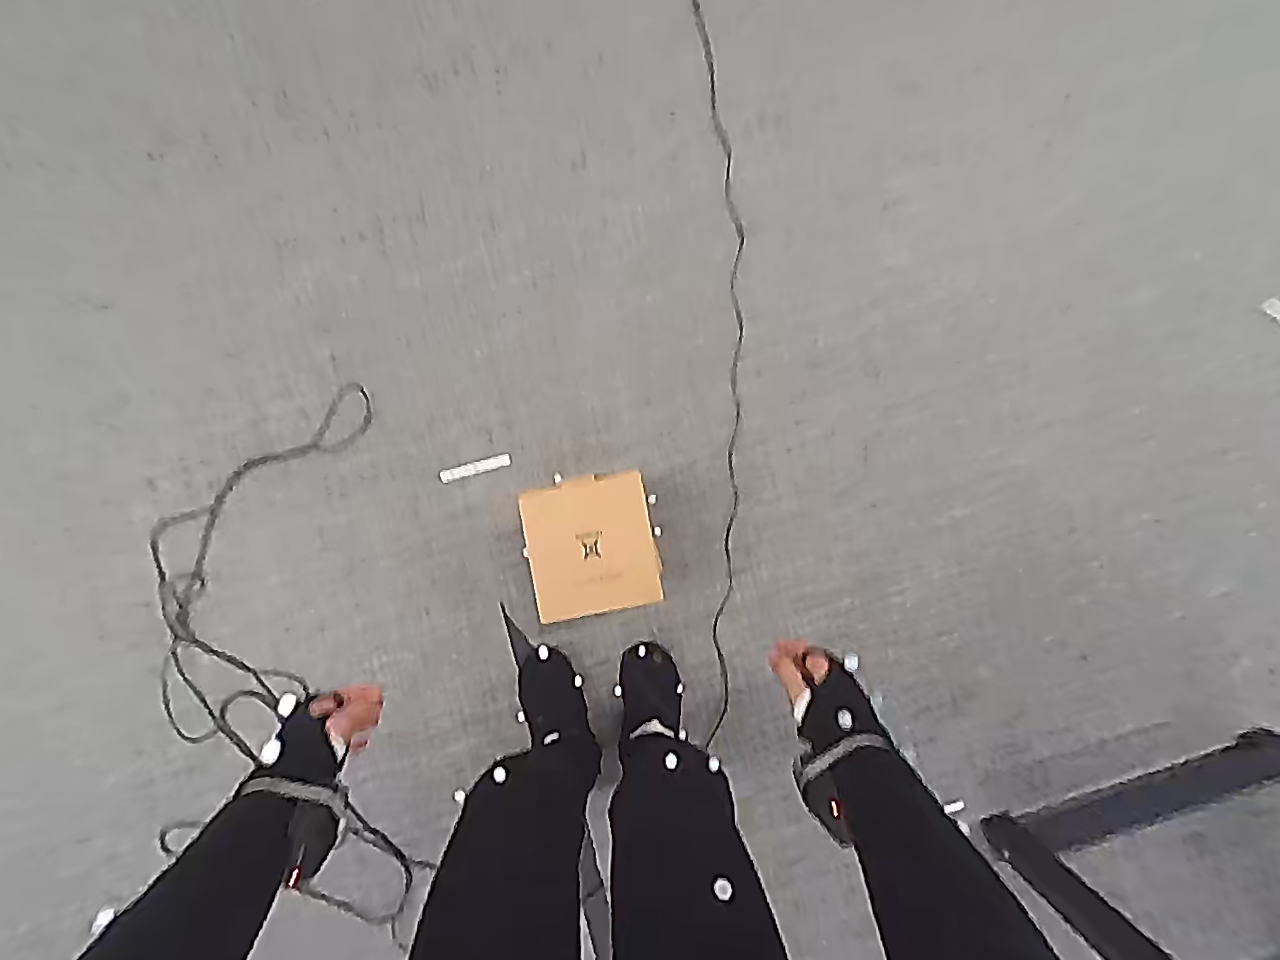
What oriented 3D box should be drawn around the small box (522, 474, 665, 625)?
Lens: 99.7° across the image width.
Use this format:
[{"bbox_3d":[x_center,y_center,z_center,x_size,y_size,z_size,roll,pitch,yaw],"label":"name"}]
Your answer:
[{"bbox_3d":[-0.062,0.094,0.793,0.168,0.176,0.179,-12,89,0],"label":"small box"}]
